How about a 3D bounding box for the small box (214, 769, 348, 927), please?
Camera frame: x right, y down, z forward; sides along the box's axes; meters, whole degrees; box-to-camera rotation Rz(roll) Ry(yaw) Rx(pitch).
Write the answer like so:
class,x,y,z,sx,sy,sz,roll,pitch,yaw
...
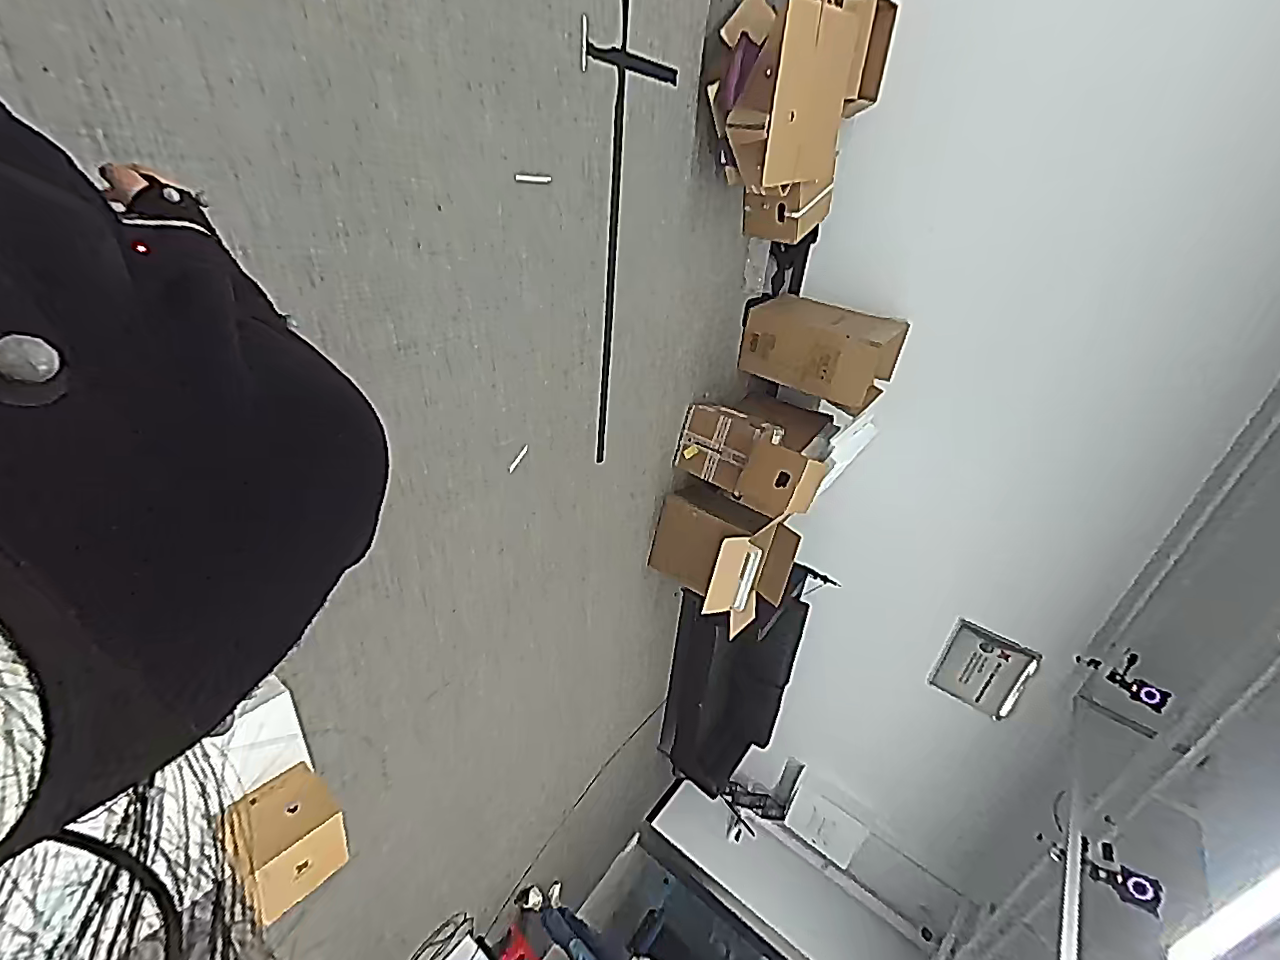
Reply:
class,x,y,z,sx,sy,sz,roll,pitch,yaw
small box,-0.720,0.723,1.089,0.168,0.176,0.179,-24,131,-49
